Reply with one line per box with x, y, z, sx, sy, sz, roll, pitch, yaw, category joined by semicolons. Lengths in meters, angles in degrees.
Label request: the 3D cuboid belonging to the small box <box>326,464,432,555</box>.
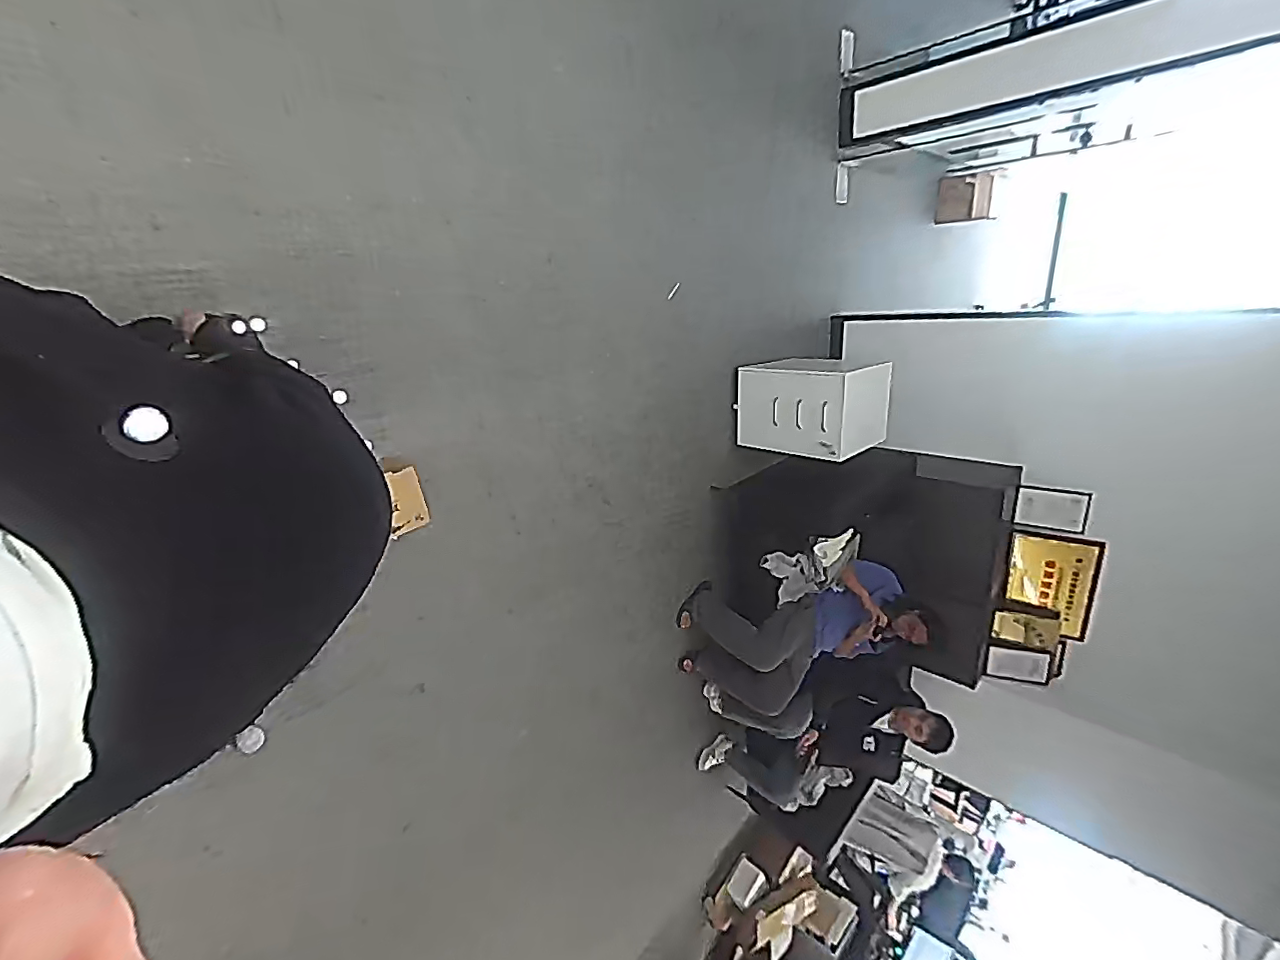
-0.724;0.075;1.496;0.179;0.176;0.168;-57;137;-22;small box
